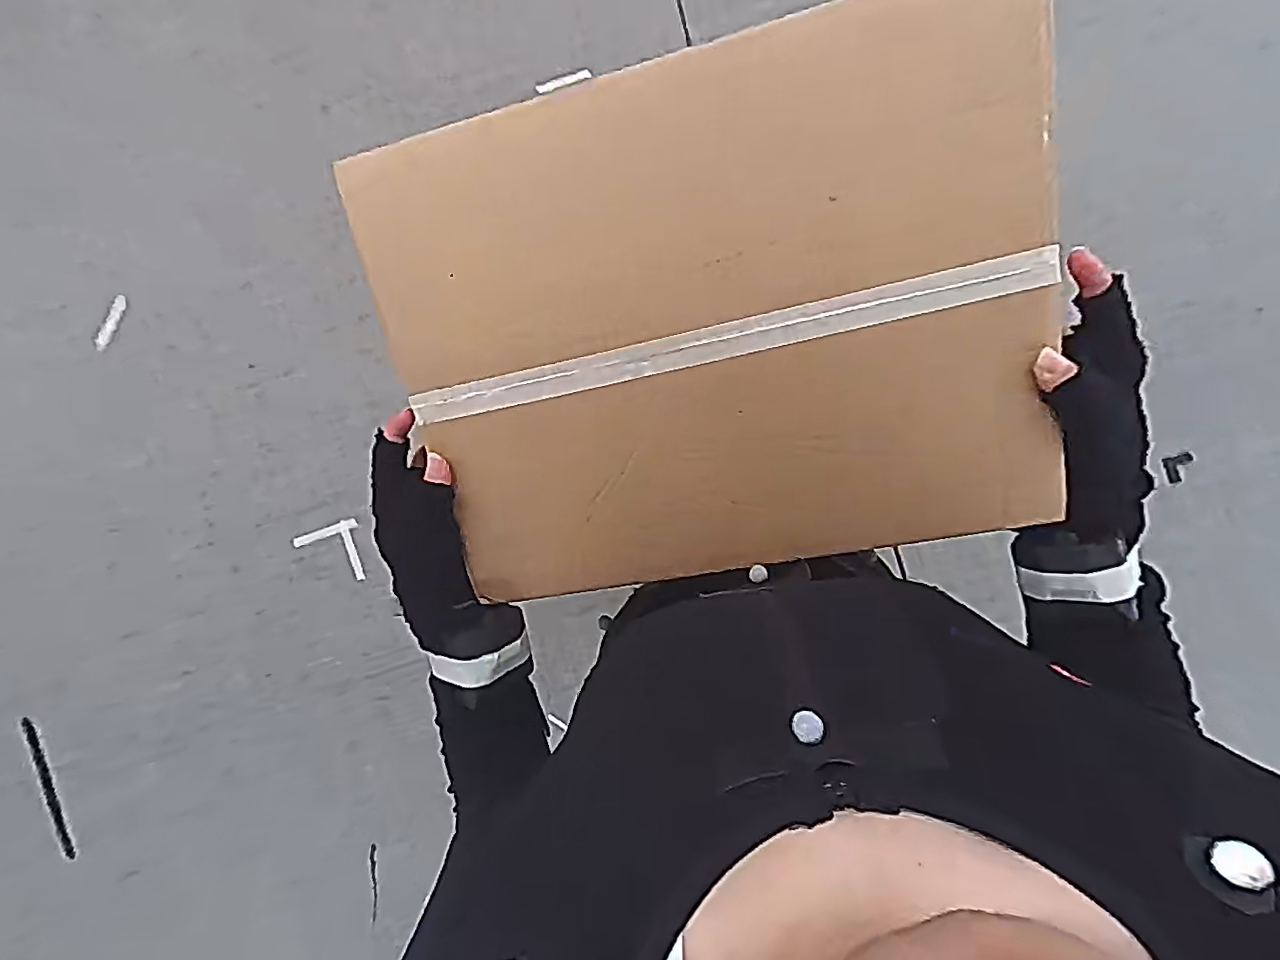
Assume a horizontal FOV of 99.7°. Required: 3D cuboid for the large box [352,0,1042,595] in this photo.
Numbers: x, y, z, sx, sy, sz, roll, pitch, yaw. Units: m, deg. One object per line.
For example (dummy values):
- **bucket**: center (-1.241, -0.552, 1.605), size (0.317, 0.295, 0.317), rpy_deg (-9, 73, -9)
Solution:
- **large box**: center (0.057, -0.132, 0.490), size (0.408, 0.320, 0.320), rpy_deg (-10, 105, 11)
